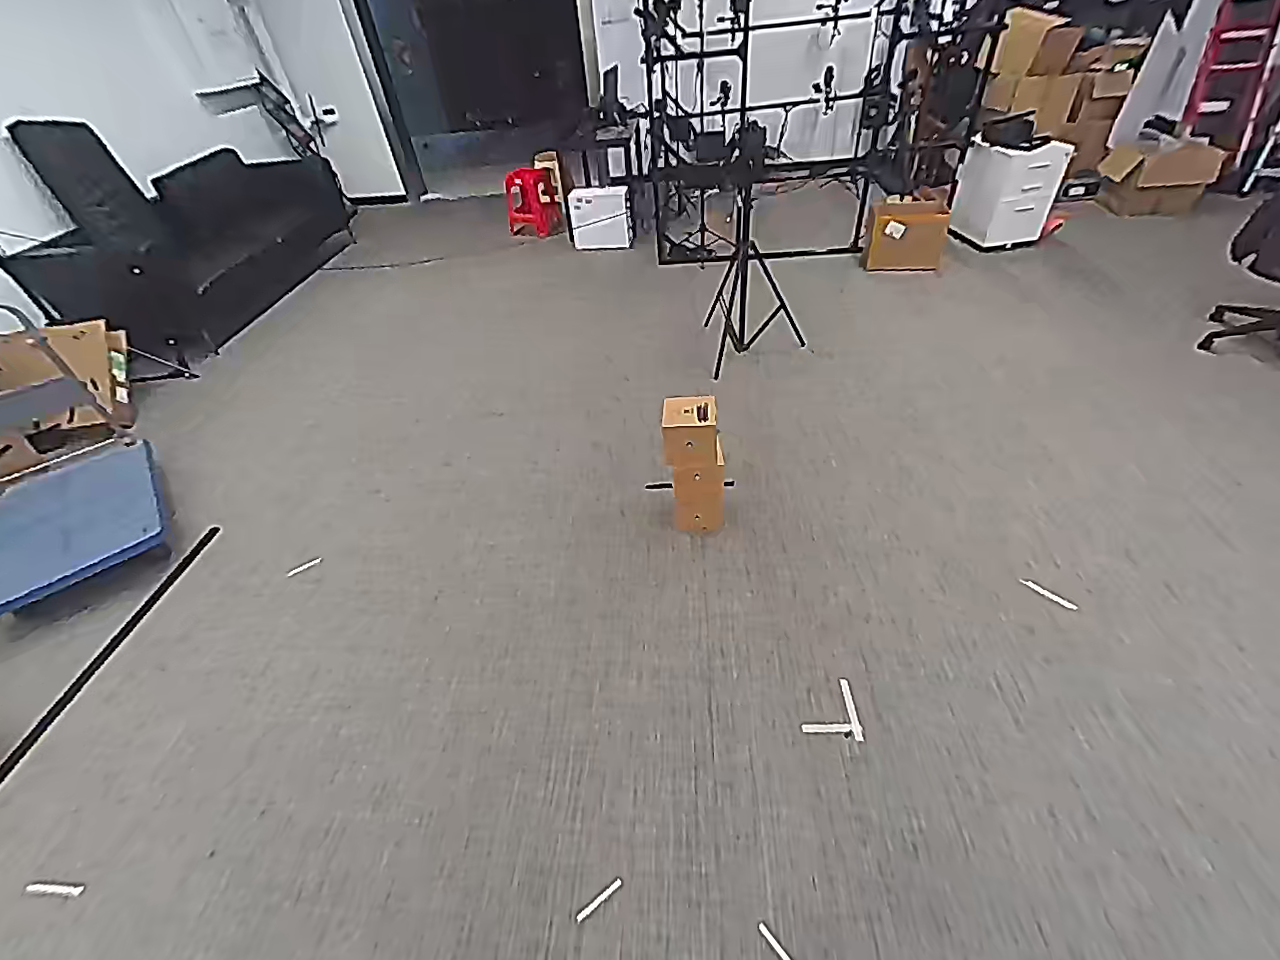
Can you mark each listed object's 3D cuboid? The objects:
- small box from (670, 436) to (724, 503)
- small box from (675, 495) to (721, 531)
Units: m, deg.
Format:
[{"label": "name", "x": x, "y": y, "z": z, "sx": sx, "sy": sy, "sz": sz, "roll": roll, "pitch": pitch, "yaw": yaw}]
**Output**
[{"label": "small box", "x": 0.201, "y": -0.036, "z": 1.928, "sx": 0.179, "sy": 0.176, "sz": 0.168, "roll": -6, "pitch": 42, "yaw": 2}, {"label": "small box", "x": 0.222, "y": 0.077, "z": 2.043, "sx": 0.168, "sy": 0.176, "sz": 0.179, "roll": 0, "pitch": 42, "yaw": 8}]
